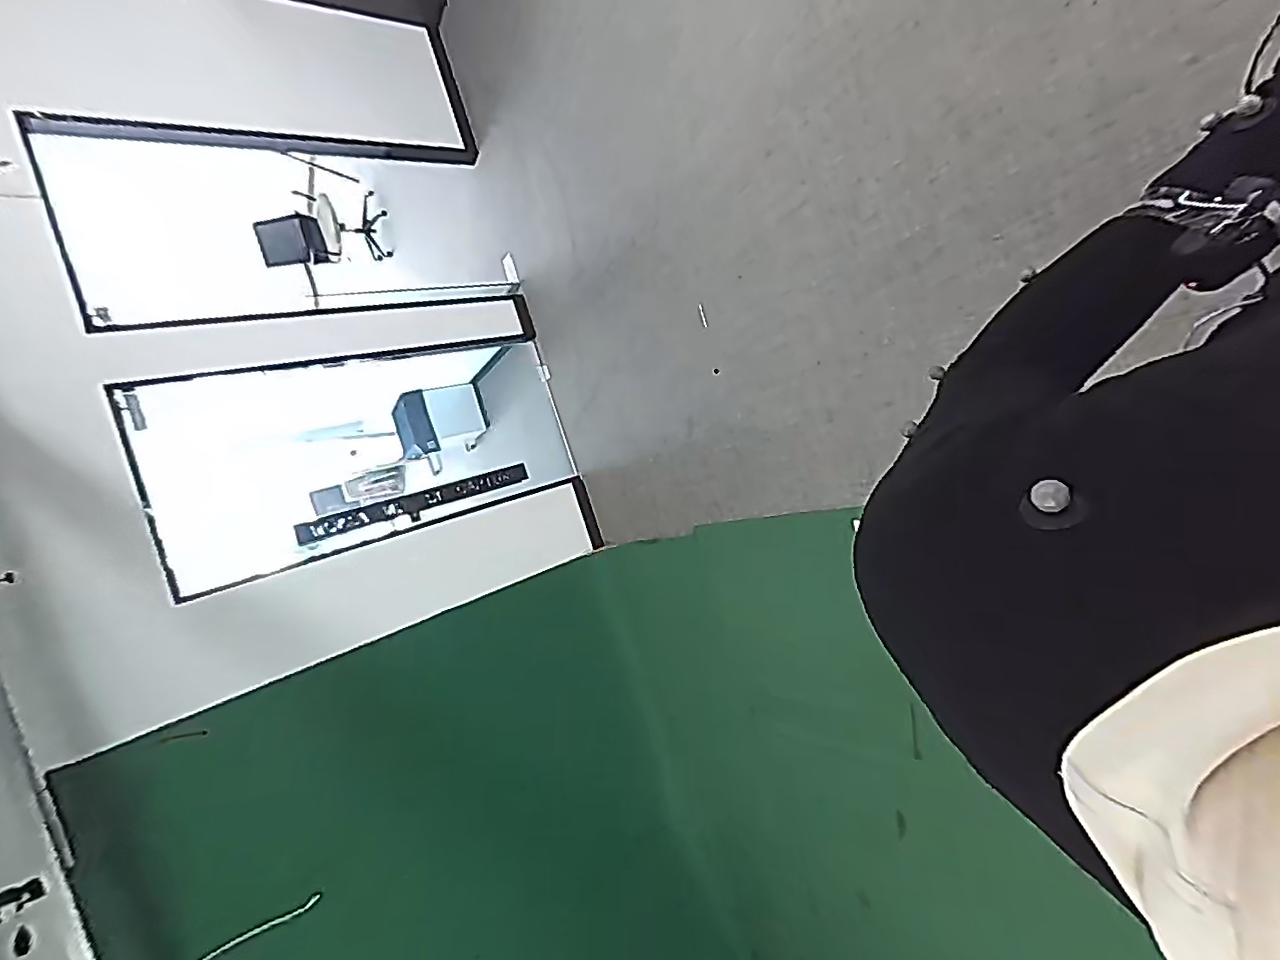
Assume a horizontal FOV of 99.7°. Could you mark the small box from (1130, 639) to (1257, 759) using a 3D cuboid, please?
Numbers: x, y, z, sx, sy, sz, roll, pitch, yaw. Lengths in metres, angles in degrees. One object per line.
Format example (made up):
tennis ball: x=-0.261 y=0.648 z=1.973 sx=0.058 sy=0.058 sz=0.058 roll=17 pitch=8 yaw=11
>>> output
small box: x=1.267 y=0.489 z=1.236 sx=0.168 sy=0.176 sz=0.179 roll=-9 pitch=97 yaw=56
